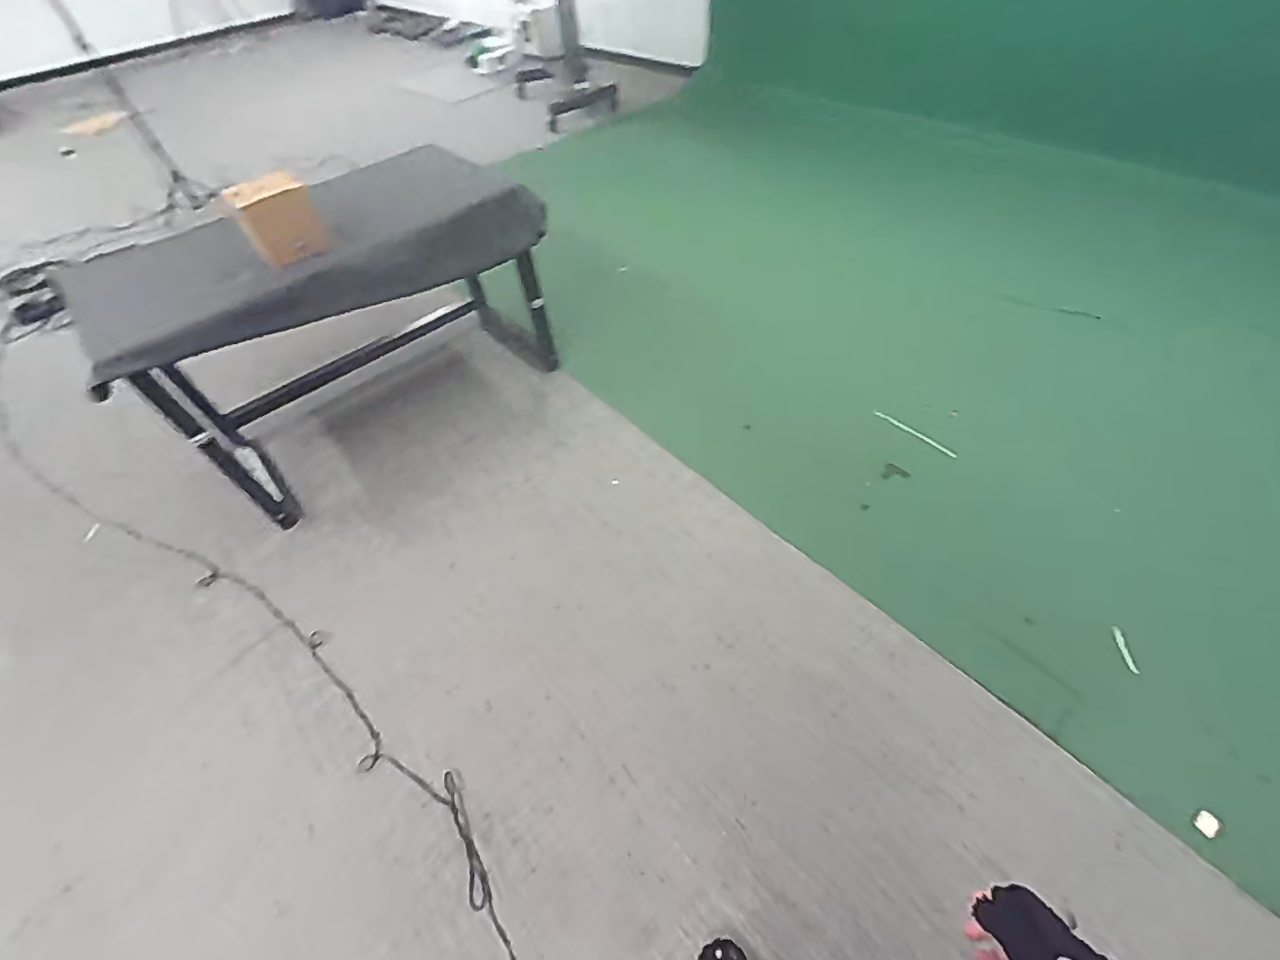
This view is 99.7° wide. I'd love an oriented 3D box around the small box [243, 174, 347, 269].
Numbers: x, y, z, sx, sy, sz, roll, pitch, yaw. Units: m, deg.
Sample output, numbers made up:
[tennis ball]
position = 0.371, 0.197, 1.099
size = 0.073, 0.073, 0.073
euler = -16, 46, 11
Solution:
[small box]
position = -0.952, -0.720, 1.510
size = 0.179, 0.176, 0.168
euler = -36, 54, -21
